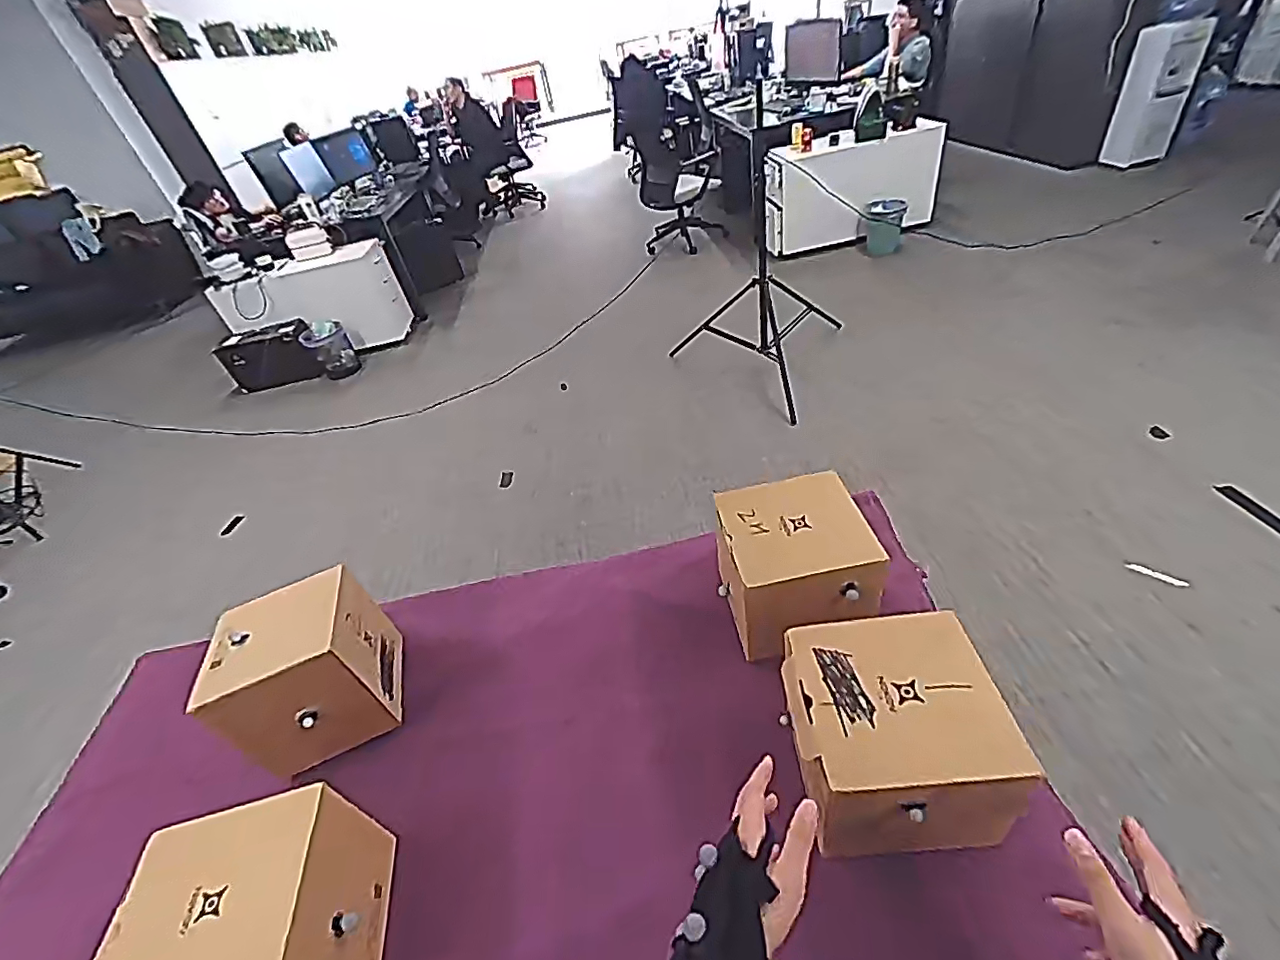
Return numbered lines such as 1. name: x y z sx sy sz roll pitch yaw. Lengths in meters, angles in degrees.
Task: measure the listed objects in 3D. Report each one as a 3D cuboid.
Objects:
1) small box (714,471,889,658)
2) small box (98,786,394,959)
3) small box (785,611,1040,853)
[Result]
1. small box: 0.207 0.117 0.736 0.179 0.176 0.168 -12 41 1
2. small box: -0.366 0.436 0.526 0.179 0.176 0.168 -16 39 -3
3. small box: 0.255 0.261 0.555 0.179 0.176 0.168 -8 39 6
